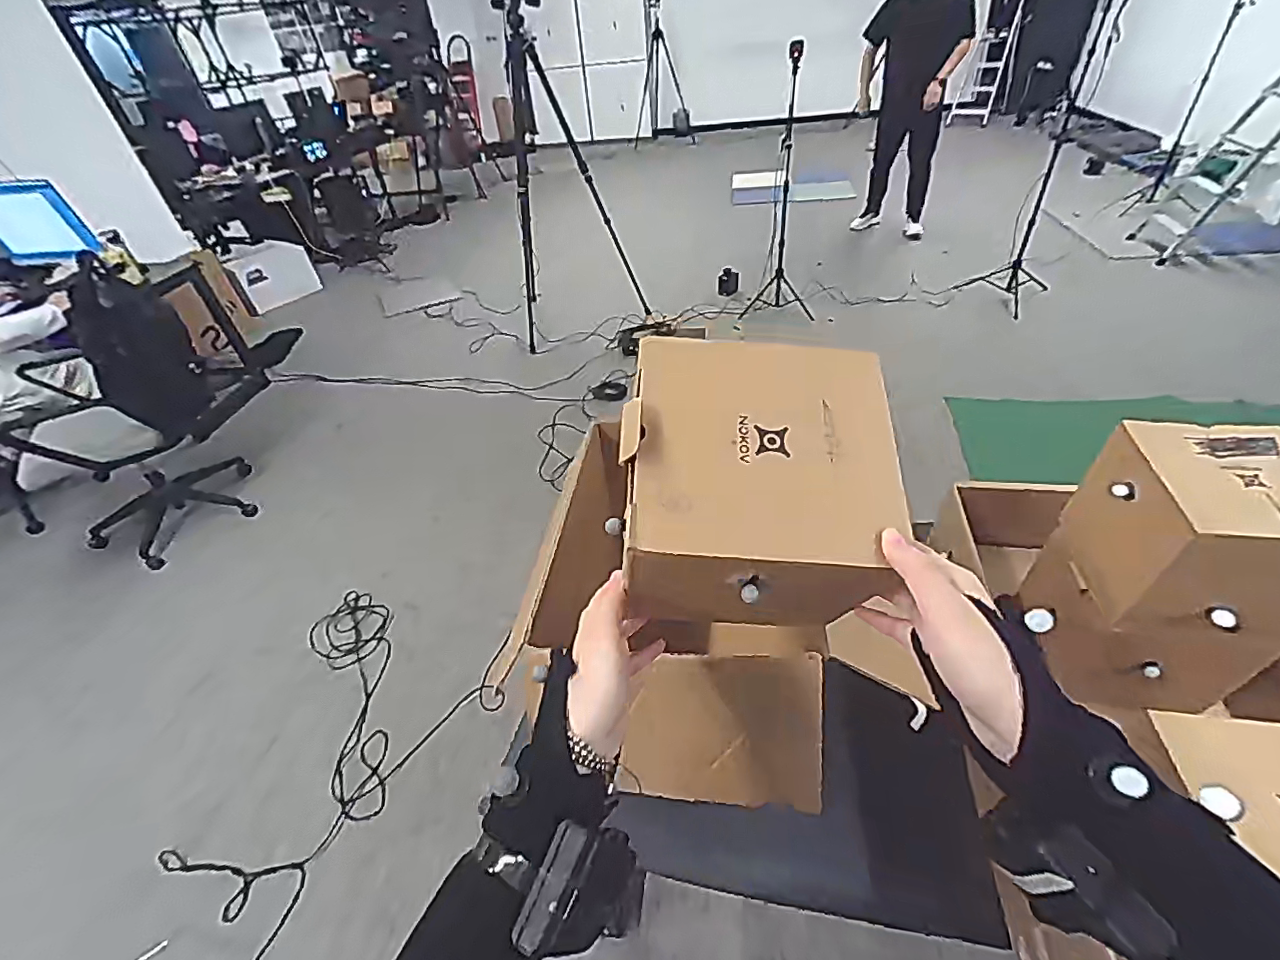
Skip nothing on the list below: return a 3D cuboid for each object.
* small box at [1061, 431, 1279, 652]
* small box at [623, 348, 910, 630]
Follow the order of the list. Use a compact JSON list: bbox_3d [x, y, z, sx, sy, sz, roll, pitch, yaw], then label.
[{"bbox_3d":[0.625,0.066,0.612,0.168,0.176,0.179,4,44,12],"label":"small box"},{"bbox_3d":[0.080,0.018,0.436,0.179,0.176,0.168,5,63,-2],"label":"small box"}]
